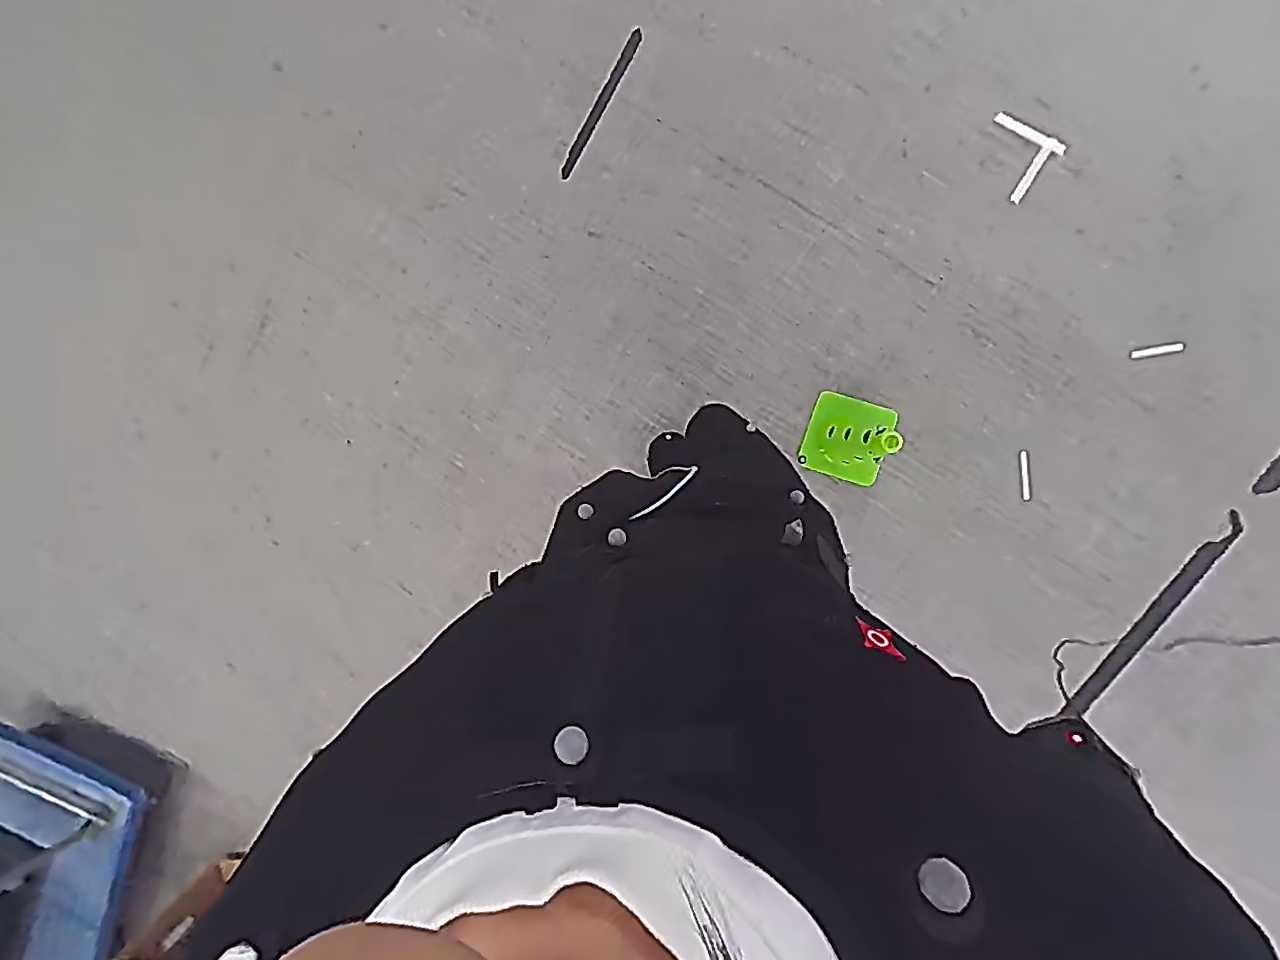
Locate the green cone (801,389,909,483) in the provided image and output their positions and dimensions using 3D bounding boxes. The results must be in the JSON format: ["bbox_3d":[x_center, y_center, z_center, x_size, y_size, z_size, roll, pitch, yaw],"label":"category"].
[{"bbox_3d":[0.503,-0.097,1.181,0.200,0.368,0.202,17,96,5],"label":"green cone"}]
